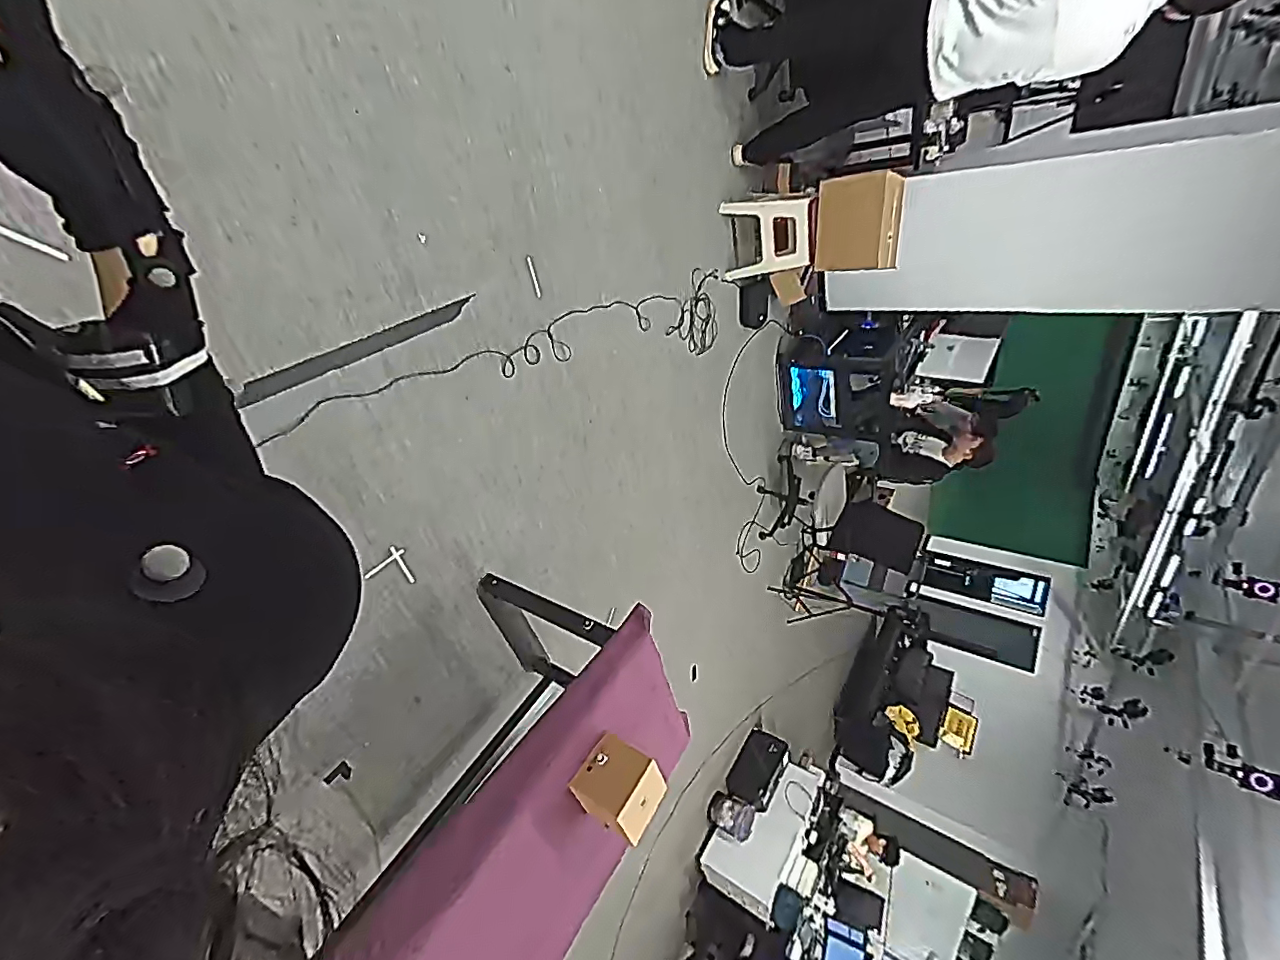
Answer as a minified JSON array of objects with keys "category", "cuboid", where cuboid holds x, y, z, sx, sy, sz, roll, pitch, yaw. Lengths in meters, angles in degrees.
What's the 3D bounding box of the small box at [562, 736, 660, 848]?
[{"category":"small box","cuboid":[-0.075,0.813,1.425,0.168,0.176,0.179,-48,135,-36]}]
